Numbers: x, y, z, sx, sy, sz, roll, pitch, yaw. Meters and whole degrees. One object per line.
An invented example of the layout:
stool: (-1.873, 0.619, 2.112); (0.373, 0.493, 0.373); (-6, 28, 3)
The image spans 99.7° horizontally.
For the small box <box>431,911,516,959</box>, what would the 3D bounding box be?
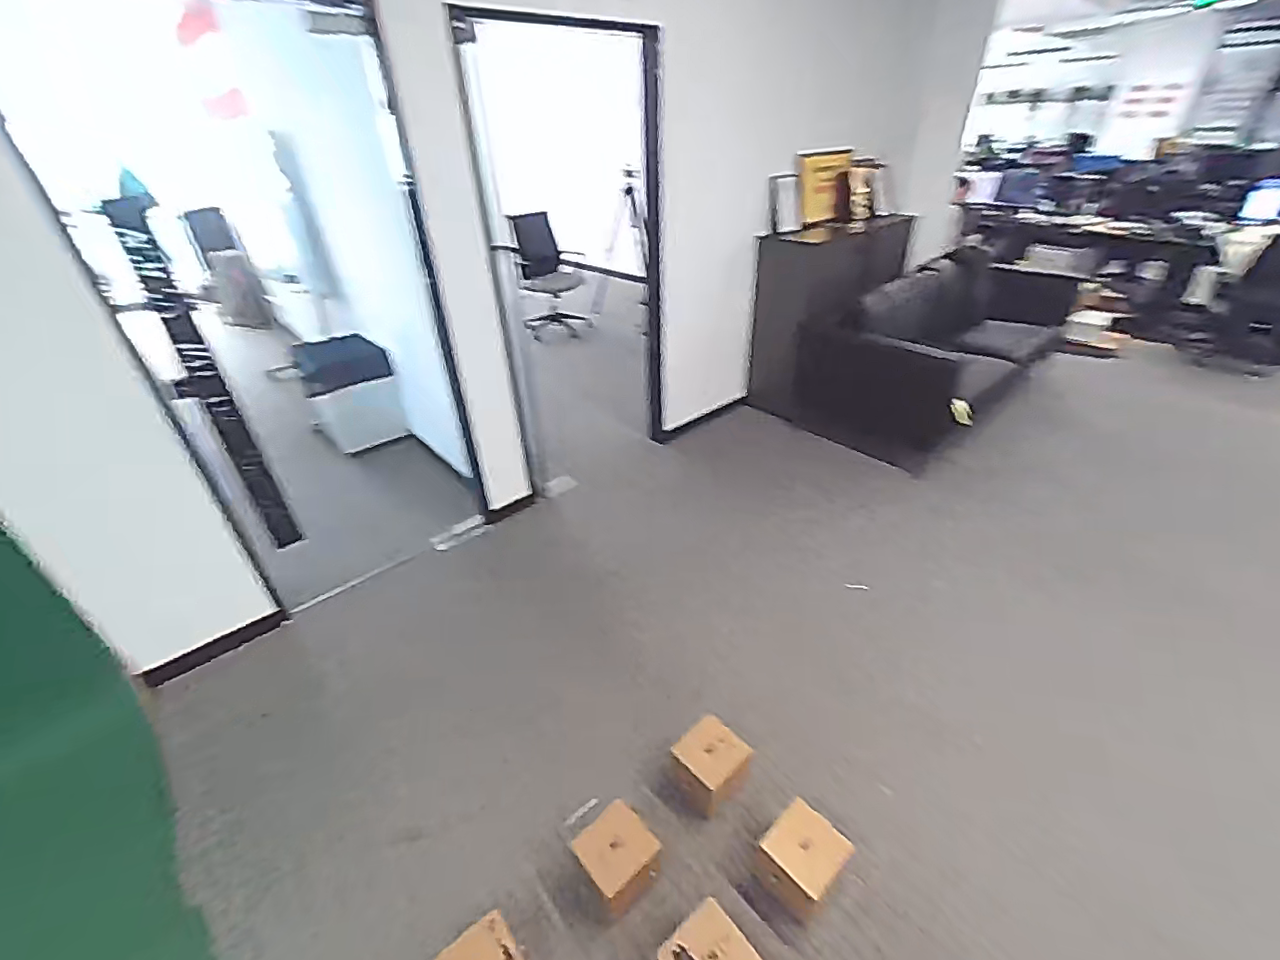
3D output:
small box: (-0.357, 1.125, 1.194); (0.179, 0.176, 0.168); (-25, 39, -30)

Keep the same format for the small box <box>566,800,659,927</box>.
small box: (-0.070, 0.986, 1.395); (0.179, 0.176, 0.168); (-26, 39, -33)

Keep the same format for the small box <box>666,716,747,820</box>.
small box: (0.195, 0.849, 1.593); (0.179, 0.176, 0.168); (-27, 41, -34)

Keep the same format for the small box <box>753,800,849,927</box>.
small box: (0.405, 0.982, 1.383); (0.179, 0.176, 0.168); (-26, 40, -34)
